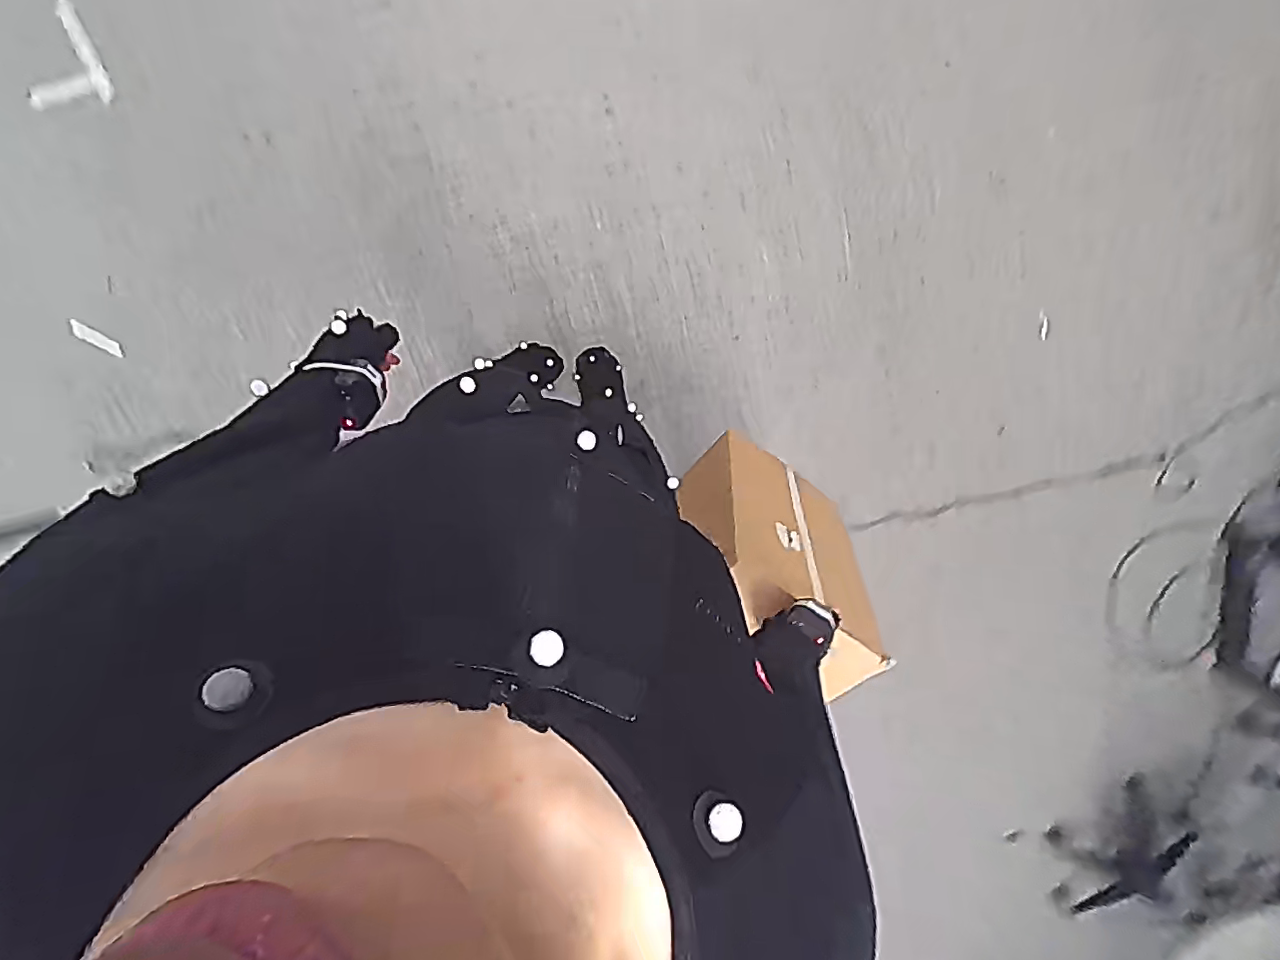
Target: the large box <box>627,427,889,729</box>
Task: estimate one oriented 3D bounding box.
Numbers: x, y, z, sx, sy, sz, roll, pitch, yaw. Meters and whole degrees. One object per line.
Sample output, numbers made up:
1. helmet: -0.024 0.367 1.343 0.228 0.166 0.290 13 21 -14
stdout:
1. large box: 0.201 0.177 1.038 0.320 0.408 0.320 33 123 -14
